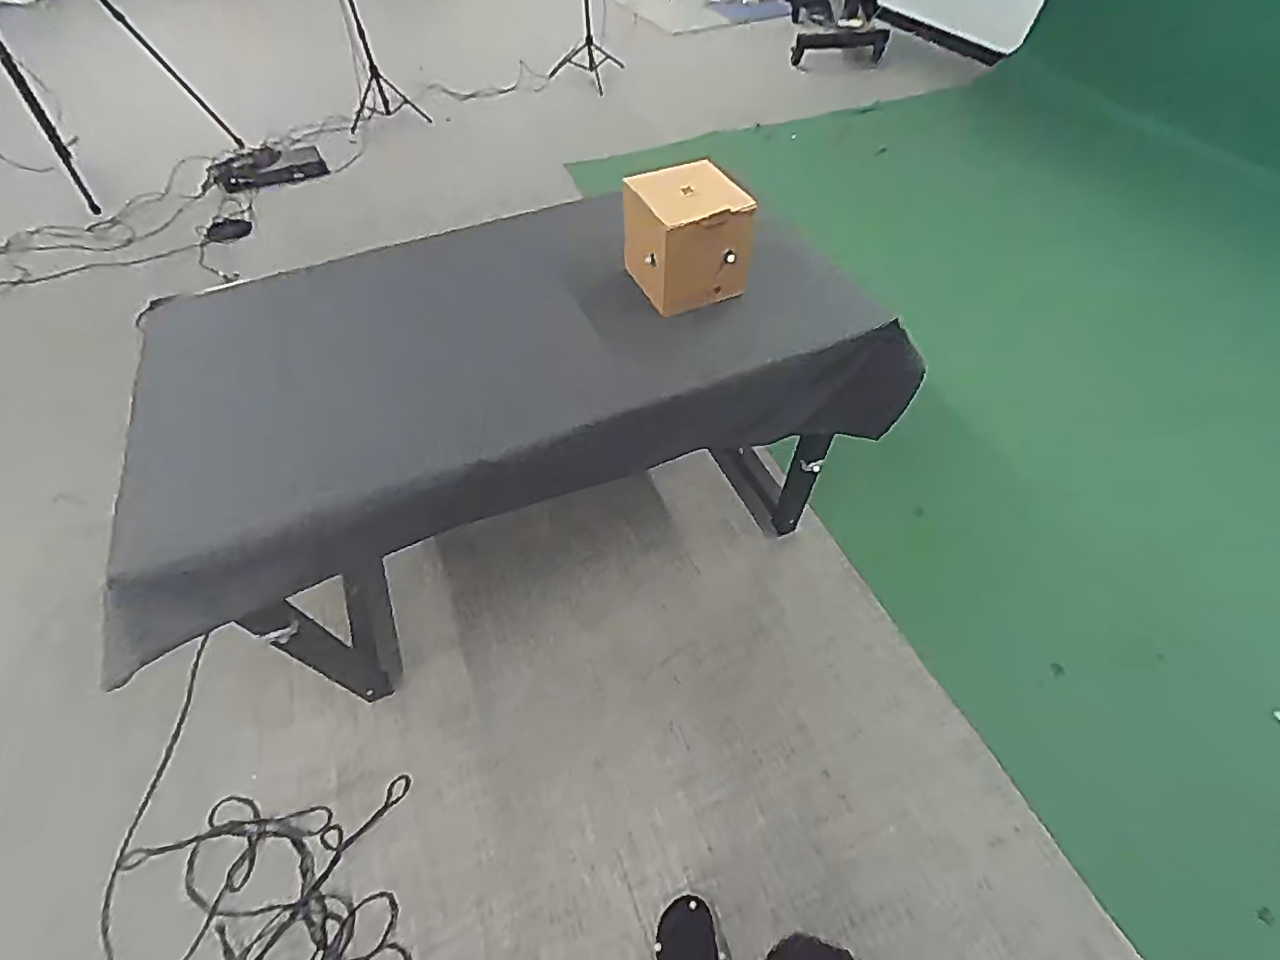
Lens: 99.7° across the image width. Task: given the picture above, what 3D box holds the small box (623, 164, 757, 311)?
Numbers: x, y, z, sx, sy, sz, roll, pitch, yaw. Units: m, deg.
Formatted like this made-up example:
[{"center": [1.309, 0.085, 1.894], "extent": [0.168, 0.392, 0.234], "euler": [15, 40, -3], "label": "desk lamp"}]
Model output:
[{"center": [0.081, -0.416, 0.946], "extent": [0.168, 0.176, 0.179], "euler": [-20, 55, -15], "label": "small box"}]
